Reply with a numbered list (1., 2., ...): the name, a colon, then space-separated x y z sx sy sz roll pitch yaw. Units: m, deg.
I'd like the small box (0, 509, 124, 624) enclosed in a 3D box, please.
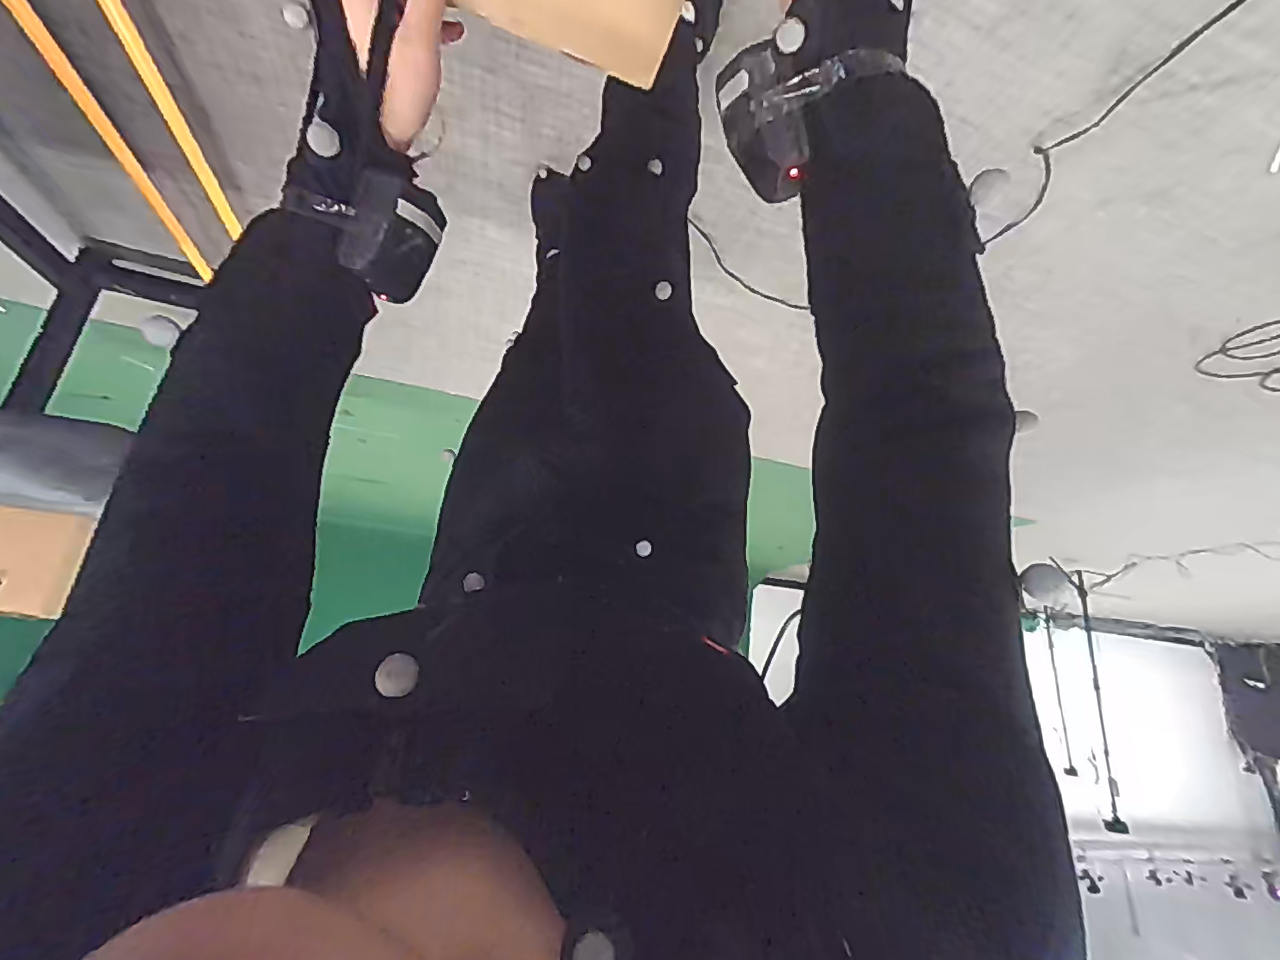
1. small box: -1.038 0.148 0.919 0.179 0.176 0.168 11 161 -12
